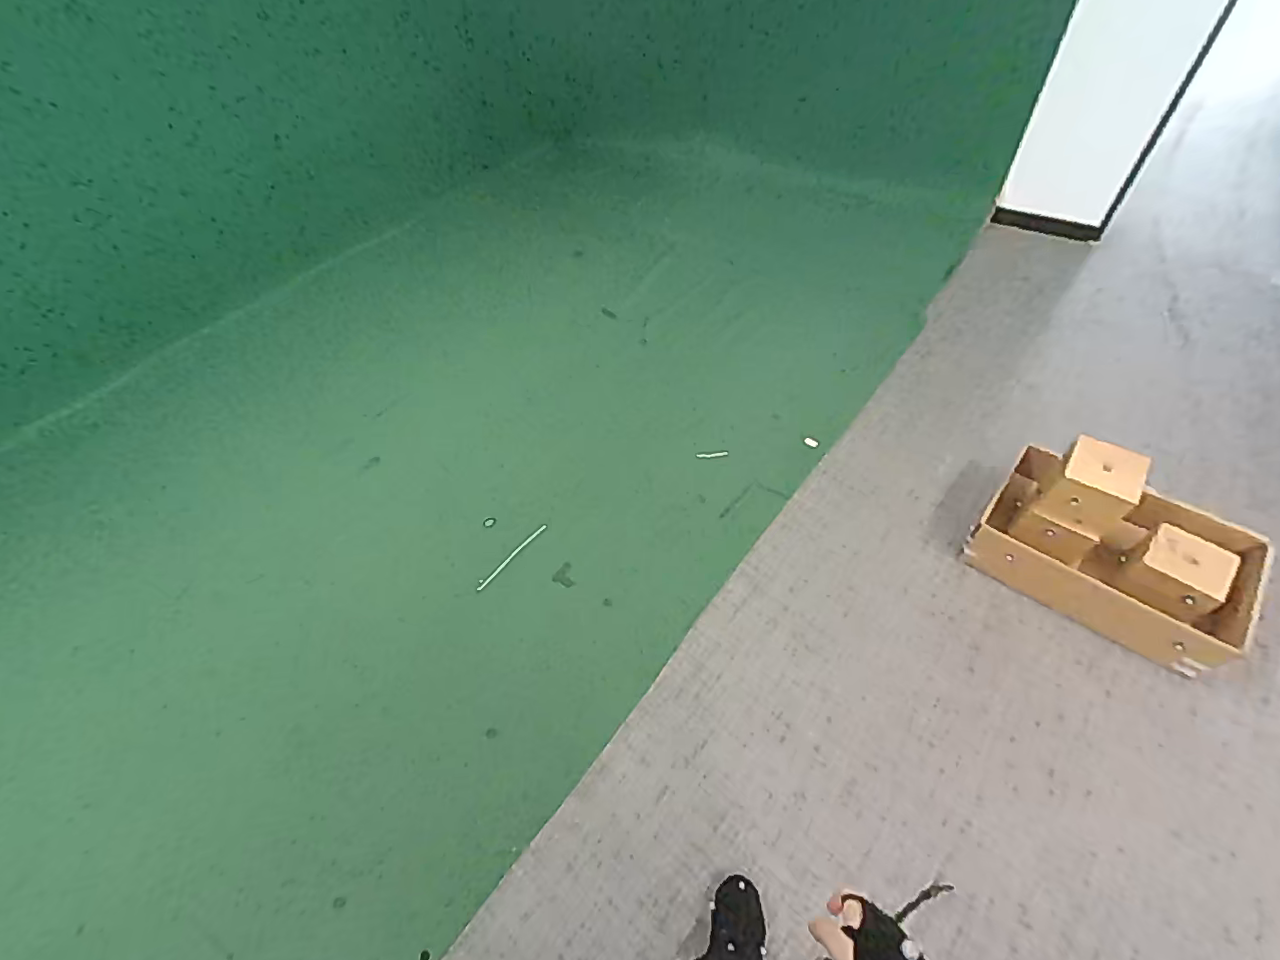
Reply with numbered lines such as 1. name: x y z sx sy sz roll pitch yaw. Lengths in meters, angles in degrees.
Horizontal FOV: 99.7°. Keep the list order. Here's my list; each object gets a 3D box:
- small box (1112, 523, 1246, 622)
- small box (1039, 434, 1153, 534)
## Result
1. small box: 1.435 0.256 1.449 0.179 0.176 0.168 35 64 30
2. small box: 1.221 0.015 1.460 0.168 0.176 0.179 29 61 26
